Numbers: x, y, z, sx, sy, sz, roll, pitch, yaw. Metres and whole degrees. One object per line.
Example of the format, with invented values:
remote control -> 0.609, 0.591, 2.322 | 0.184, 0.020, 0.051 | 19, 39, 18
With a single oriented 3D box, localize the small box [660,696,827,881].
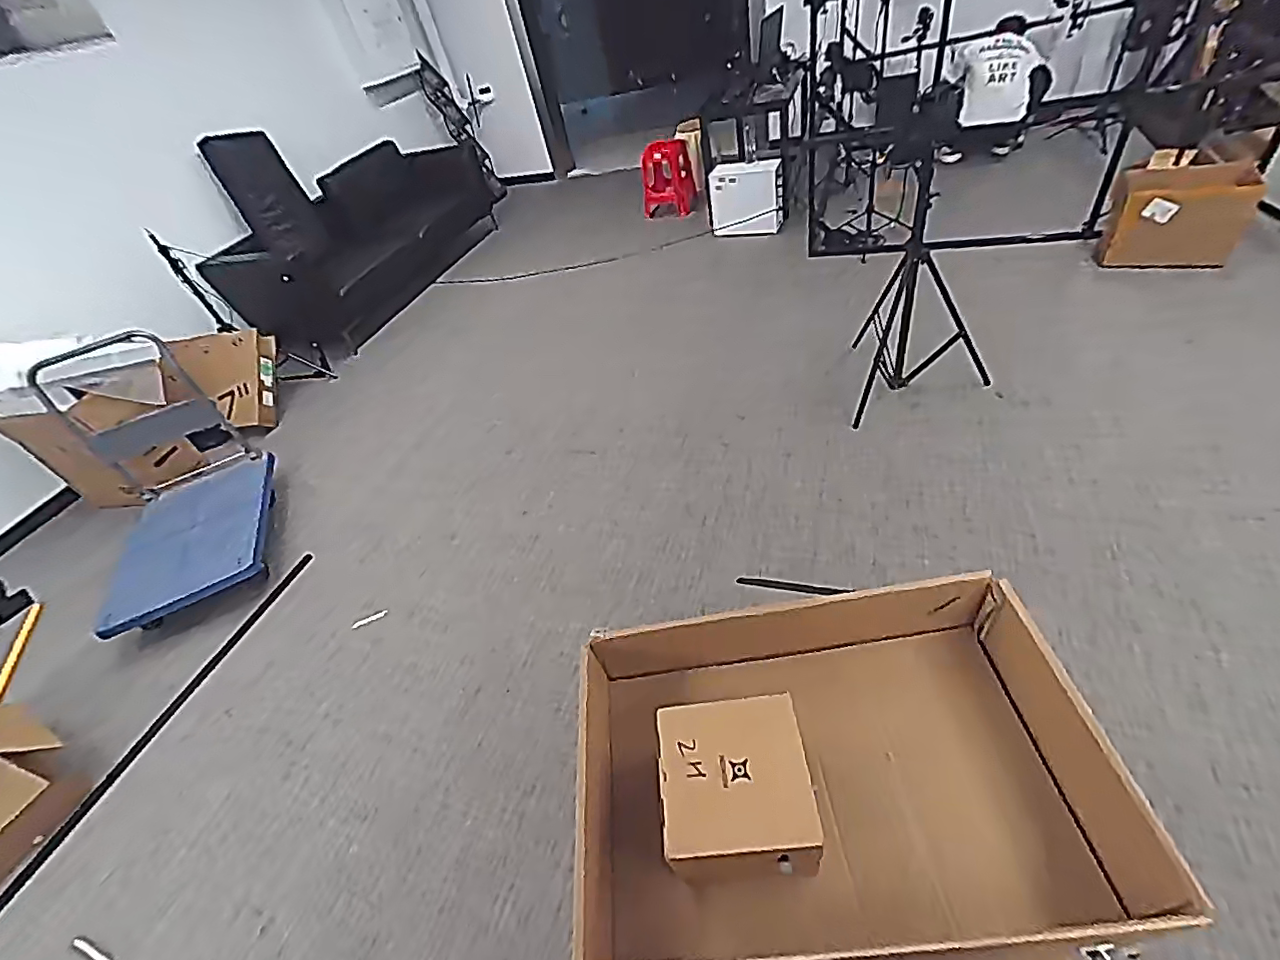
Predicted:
small box -> 0.126, 0.397, 0.694 | 0.179, 0.176, 0.168 | -8, 44, 6
